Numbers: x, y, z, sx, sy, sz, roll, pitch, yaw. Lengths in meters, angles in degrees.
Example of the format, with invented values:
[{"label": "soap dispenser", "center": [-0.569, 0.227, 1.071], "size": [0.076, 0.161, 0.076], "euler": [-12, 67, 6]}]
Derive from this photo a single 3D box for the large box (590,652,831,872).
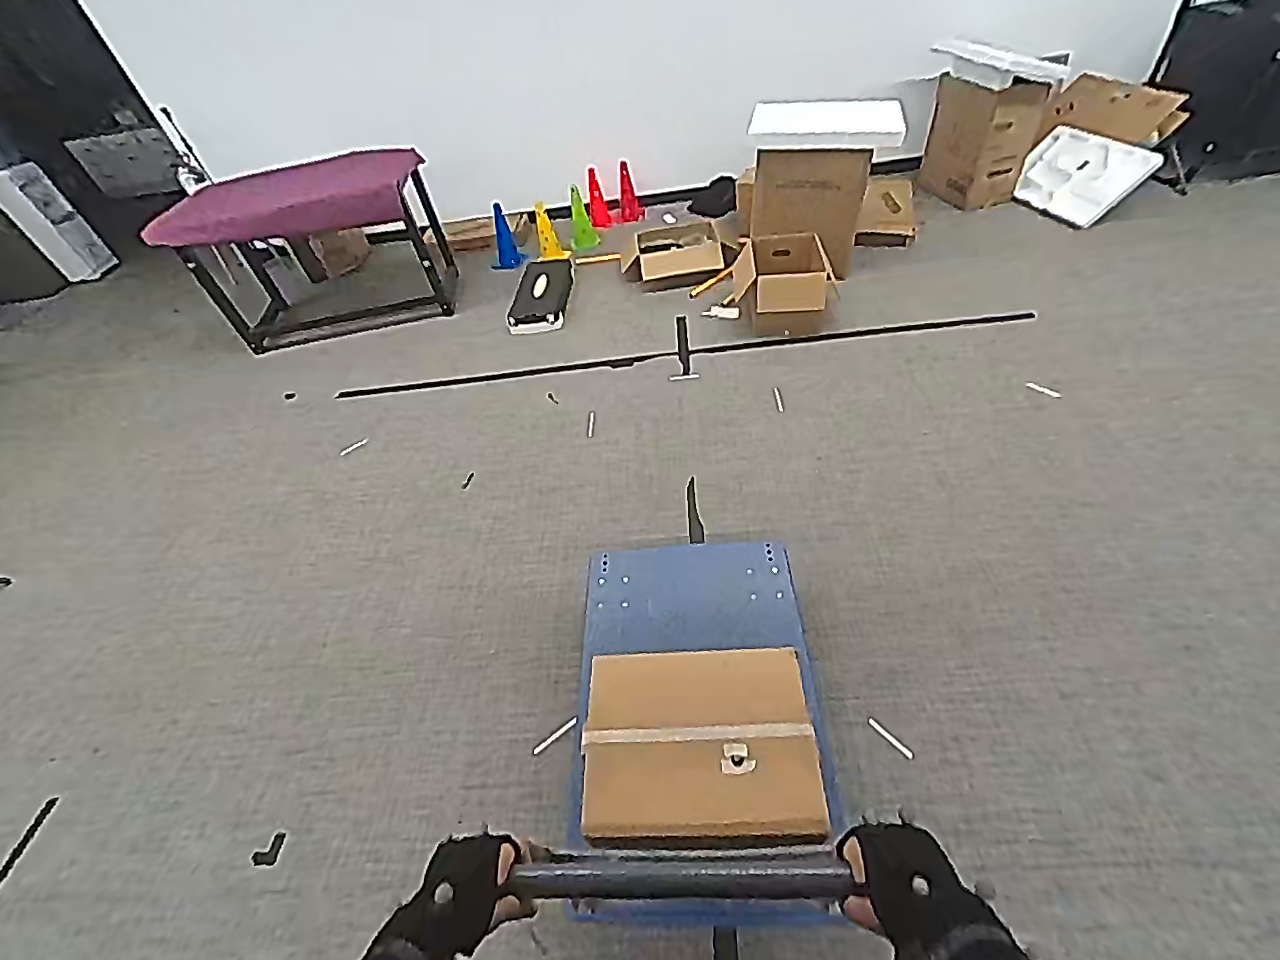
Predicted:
[{"label": "large box", "center": [0.124, 0.571, 1.086], "size": [0.408, 0.320, 0.320], "euler": [-4, 47, 4]}]
